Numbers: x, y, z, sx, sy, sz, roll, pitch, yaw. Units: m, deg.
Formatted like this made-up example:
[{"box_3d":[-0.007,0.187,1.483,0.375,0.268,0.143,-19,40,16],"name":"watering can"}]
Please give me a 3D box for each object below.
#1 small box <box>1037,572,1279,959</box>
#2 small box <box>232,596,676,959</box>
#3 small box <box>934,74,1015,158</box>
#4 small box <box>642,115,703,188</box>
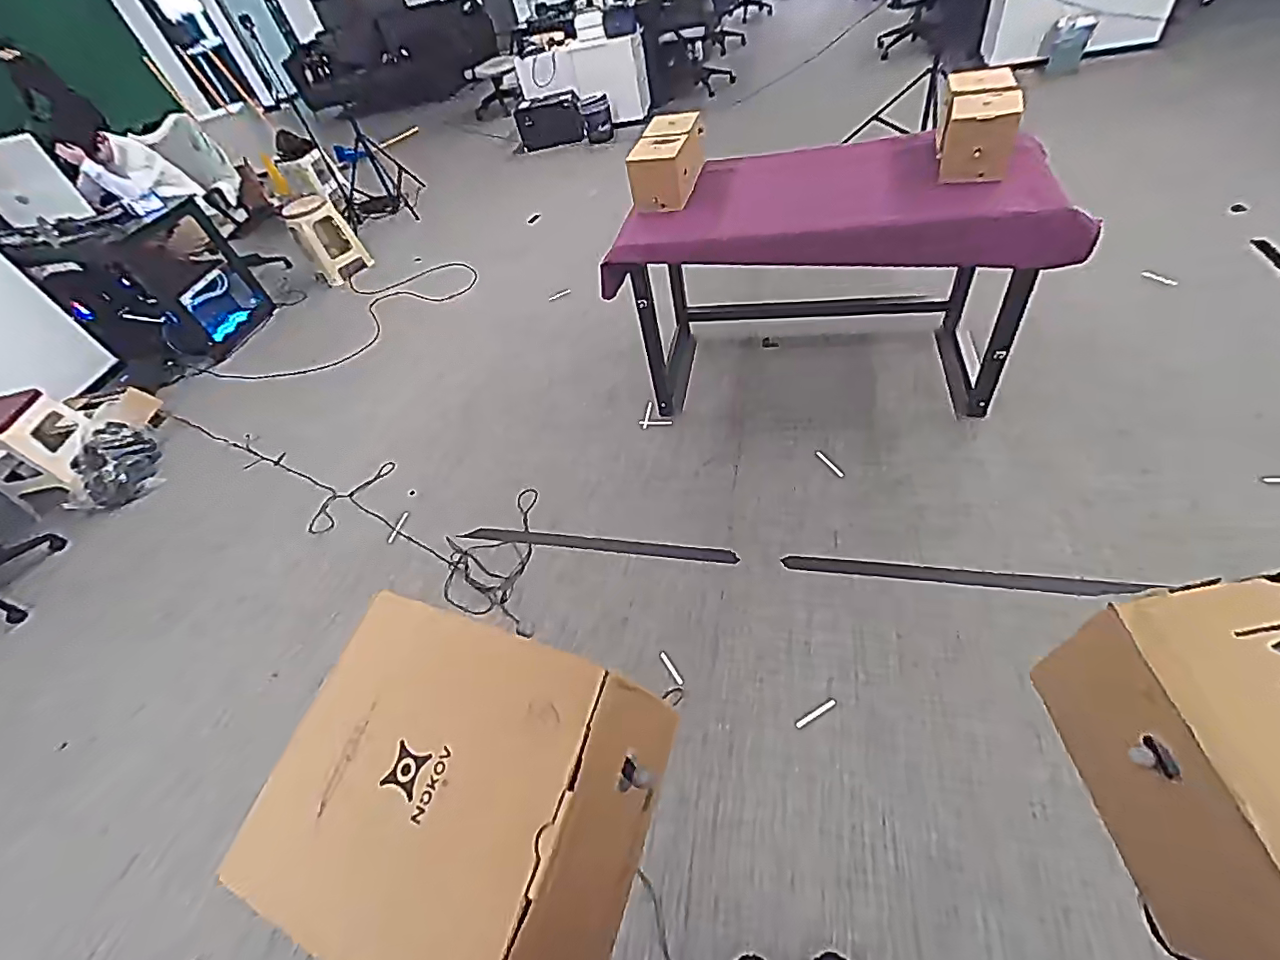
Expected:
[{"box_3d":[0.375,0.164,0.311,0.168,0.176,0.179,-15,55,10],"name":"small box"},{"box_3d":[-0.091,0.197,0.351,0.179,0.176,0.168,9,63,24],"name":"small box"},{"box_3d":[1.002,-1.098,1.636,0.168,0.176,0.179,6,51,18],"name":"small box"},{"box_3d":[0.120,-1.144,1.888,0.168,0.176,0.179,6,52,19],"name":"small box"}]
